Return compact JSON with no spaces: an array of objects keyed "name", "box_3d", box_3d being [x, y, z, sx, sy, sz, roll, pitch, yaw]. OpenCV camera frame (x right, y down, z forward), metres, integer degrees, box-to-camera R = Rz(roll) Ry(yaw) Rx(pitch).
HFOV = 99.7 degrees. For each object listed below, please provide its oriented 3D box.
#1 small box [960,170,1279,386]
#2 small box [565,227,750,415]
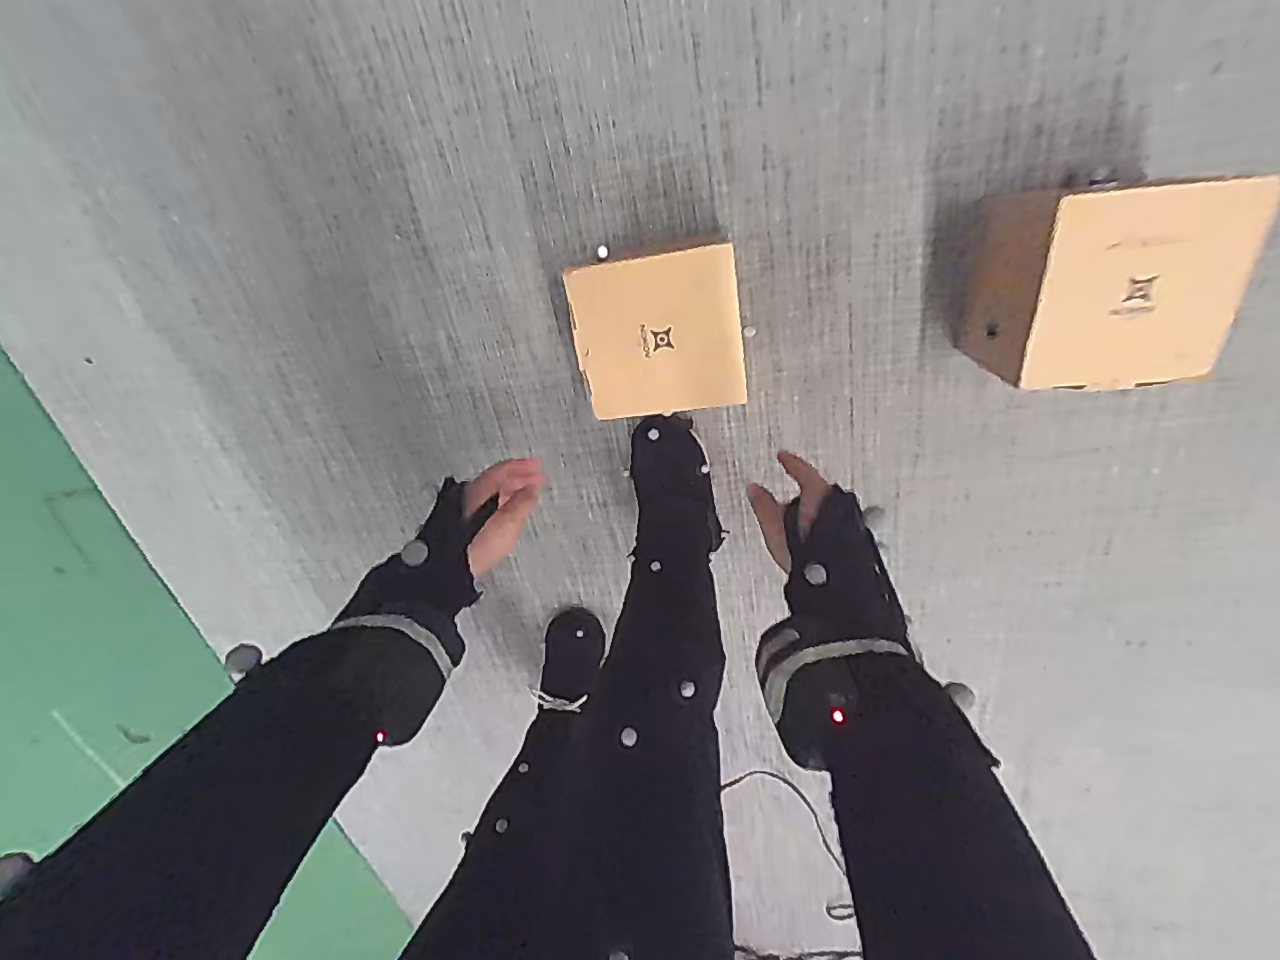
[{"name":"small box","box_3d":[0.454,-0.208,0.554,0.168,0.176,0.179,-2,117,9]},{"name":"small box","box_3d":[0.031,-0.191,0.633,0.179,0.176,0.168,-5,117,12]}]
